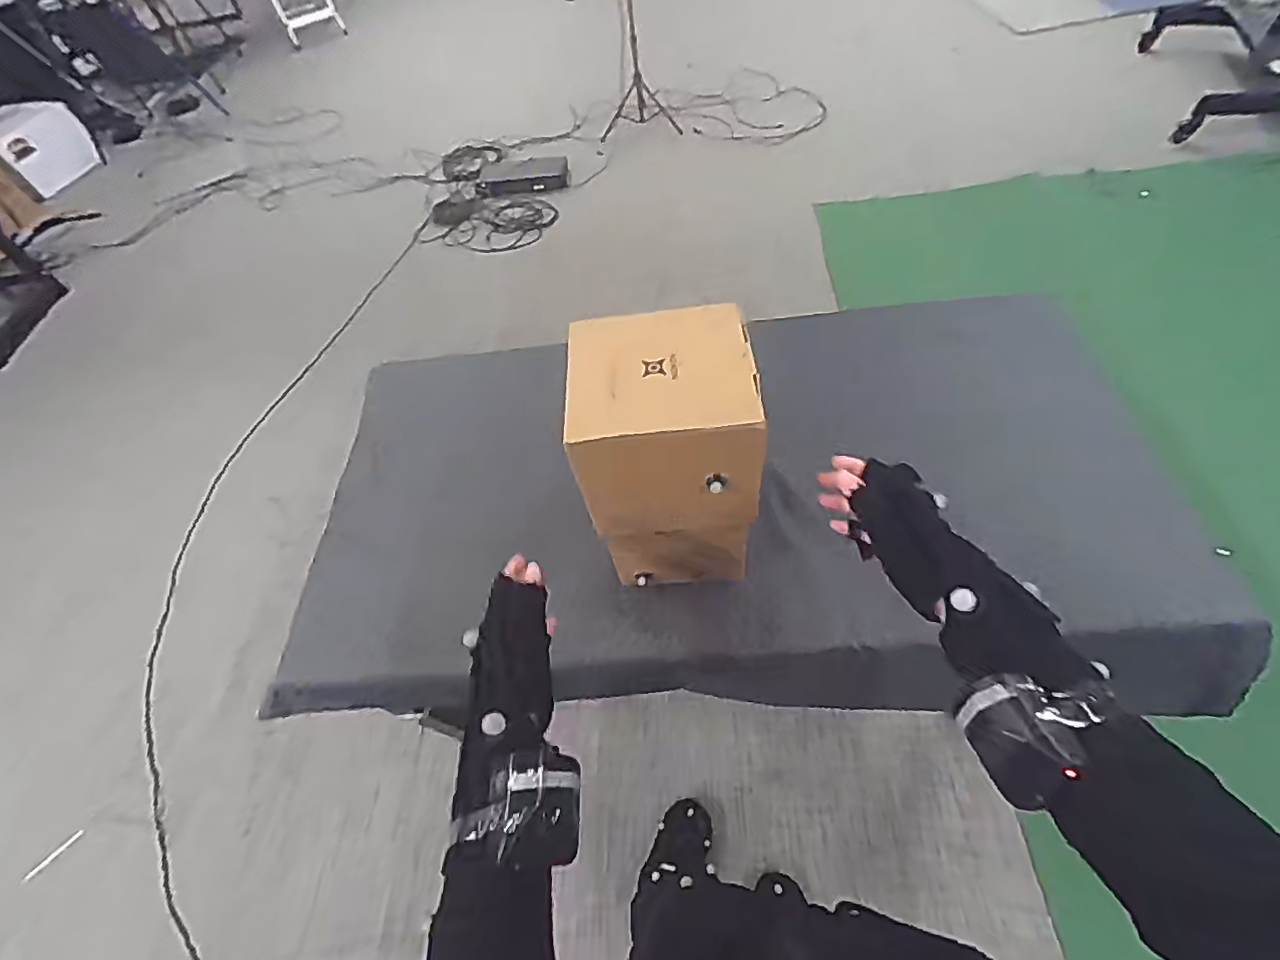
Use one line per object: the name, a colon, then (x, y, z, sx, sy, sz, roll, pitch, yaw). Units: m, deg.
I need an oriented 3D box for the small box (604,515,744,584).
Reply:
small box: (0.048, 0.029, 0.719, 0.168, 0.176, 0.179, -4, 54, 5)

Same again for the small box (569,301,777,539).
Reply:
small box: (0.029, -0.056, 0.562, 0.179, 0.176, 0.168, -9, 54, 1)
